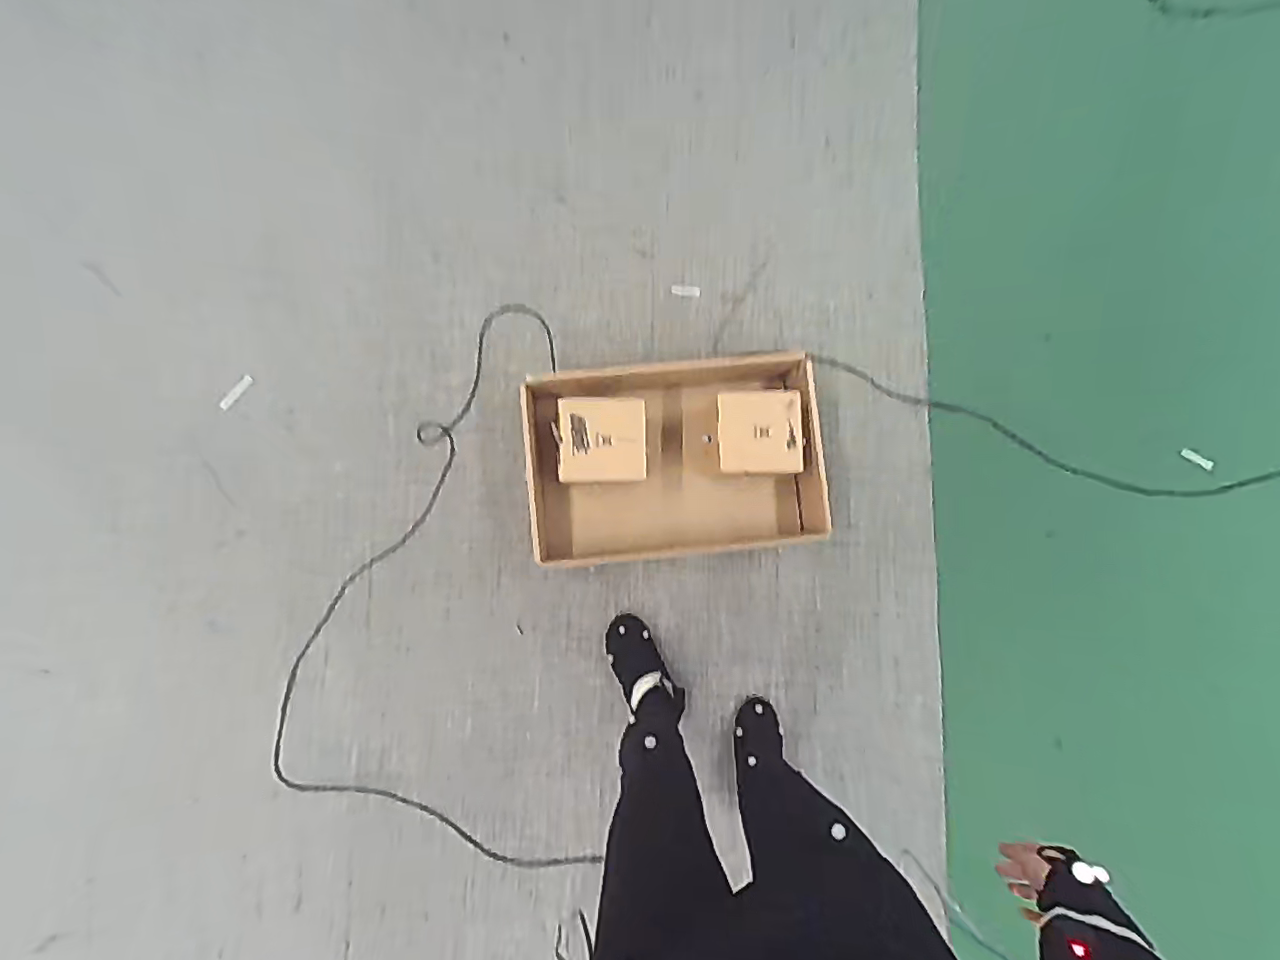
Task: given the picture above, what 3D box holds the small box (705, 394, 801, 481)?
[{"bbox_3d":[0.238,-0.086,1.178,0.179,0.176,0.168,0,85,-3],"label":"small box"}]
